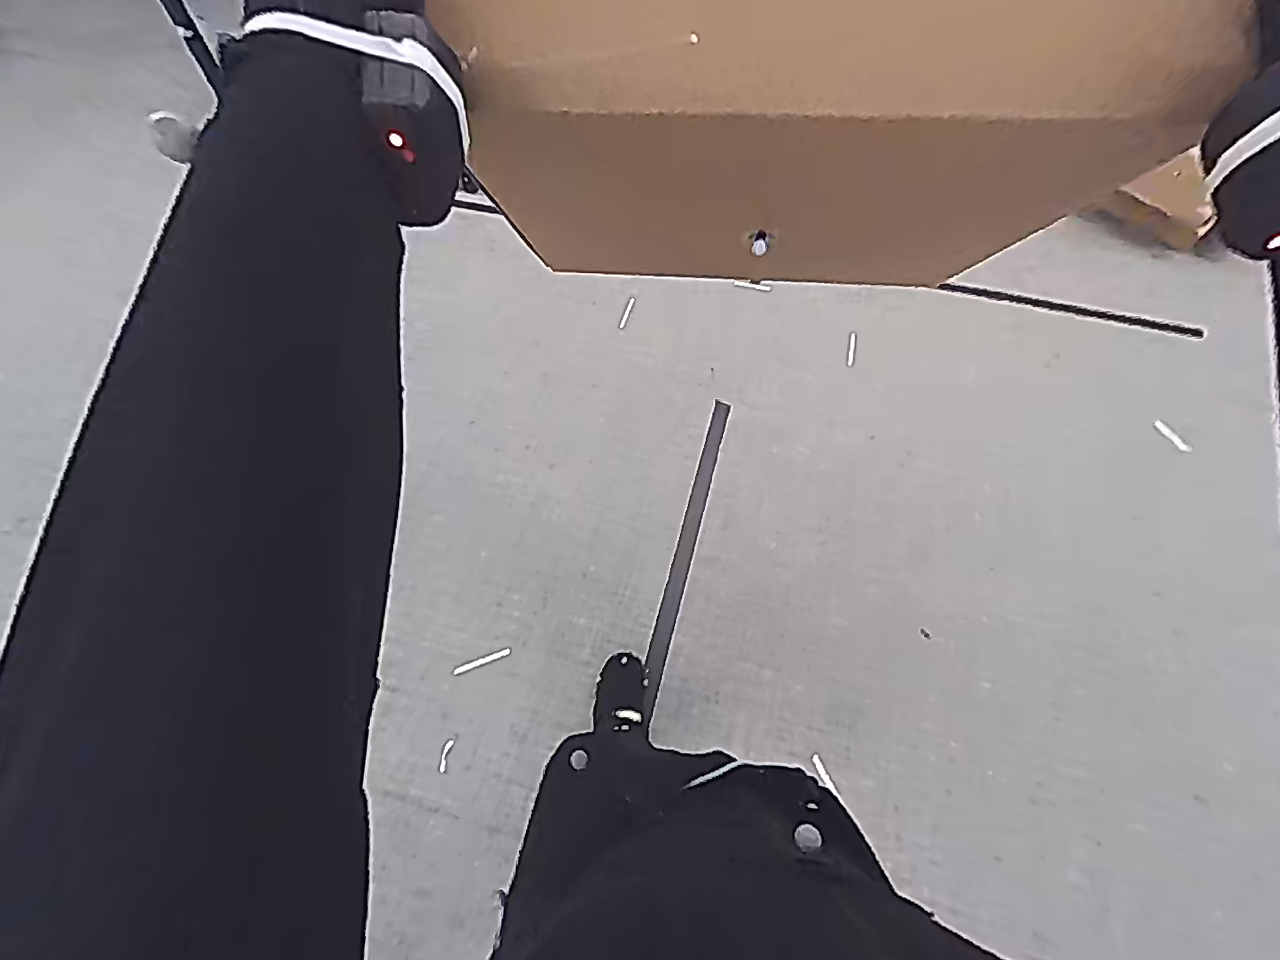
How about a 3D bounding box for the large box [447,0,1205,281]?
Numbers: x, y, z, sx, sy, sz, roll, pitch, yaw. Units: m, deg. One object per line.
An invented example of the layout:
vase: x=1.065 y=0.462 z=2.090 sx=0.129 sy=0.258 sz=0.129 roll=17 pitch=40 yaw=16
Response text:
large box: x=0.107 y=-0.354 z=0.428 sx=0.408 sy=0.320 sz=0.320 roll=3 pitch=94 yaw=5
